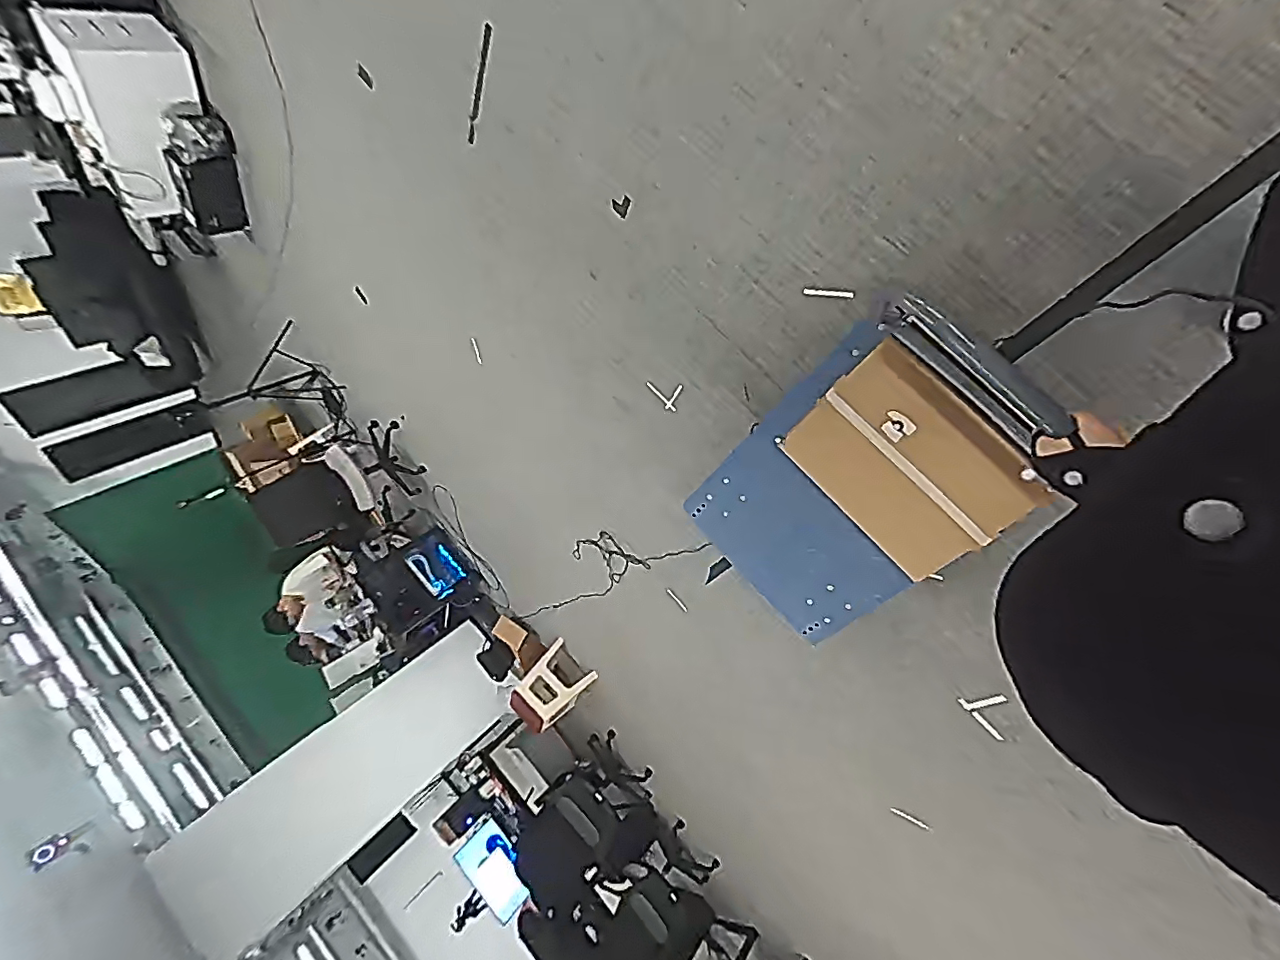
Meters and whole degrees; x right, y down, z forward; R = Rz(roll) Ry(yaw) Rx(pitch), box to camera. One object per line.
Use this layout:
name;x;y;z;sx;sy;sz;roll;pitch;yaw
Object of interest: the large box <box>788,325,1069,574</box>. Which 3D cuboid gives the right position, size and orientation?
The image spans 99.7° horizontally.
large box;0.611;-0.081;1.172;0.408;0.320;0.320;47;124;10
